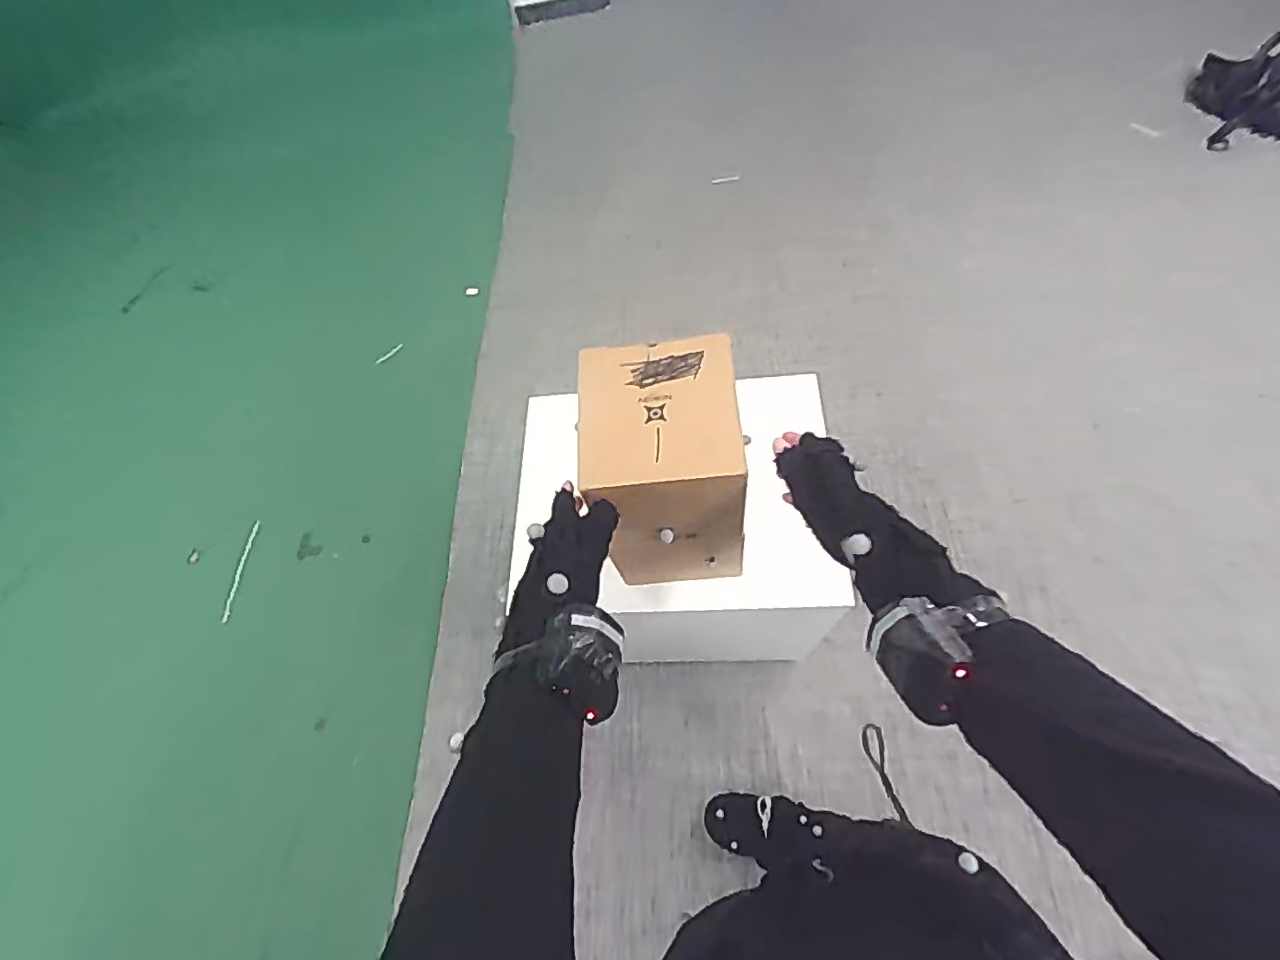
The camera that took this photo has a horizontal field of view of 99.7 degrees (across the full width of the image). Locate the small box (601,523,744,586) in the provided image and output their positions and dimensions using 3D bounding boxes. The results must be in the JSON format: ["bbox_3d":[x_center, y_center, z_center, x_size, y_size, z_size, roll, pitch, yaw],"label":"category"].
[{"bbox_3d":[0.047,0.042,0.759,0.179,0.176,0.168,-8,62,8],"label":"small box"}]

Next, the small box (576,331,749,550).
[{"bbox_3d":[0.026,-0.038,0.618,0.168,0.176,0.179,-8,61,5],"label":"small box"}]
